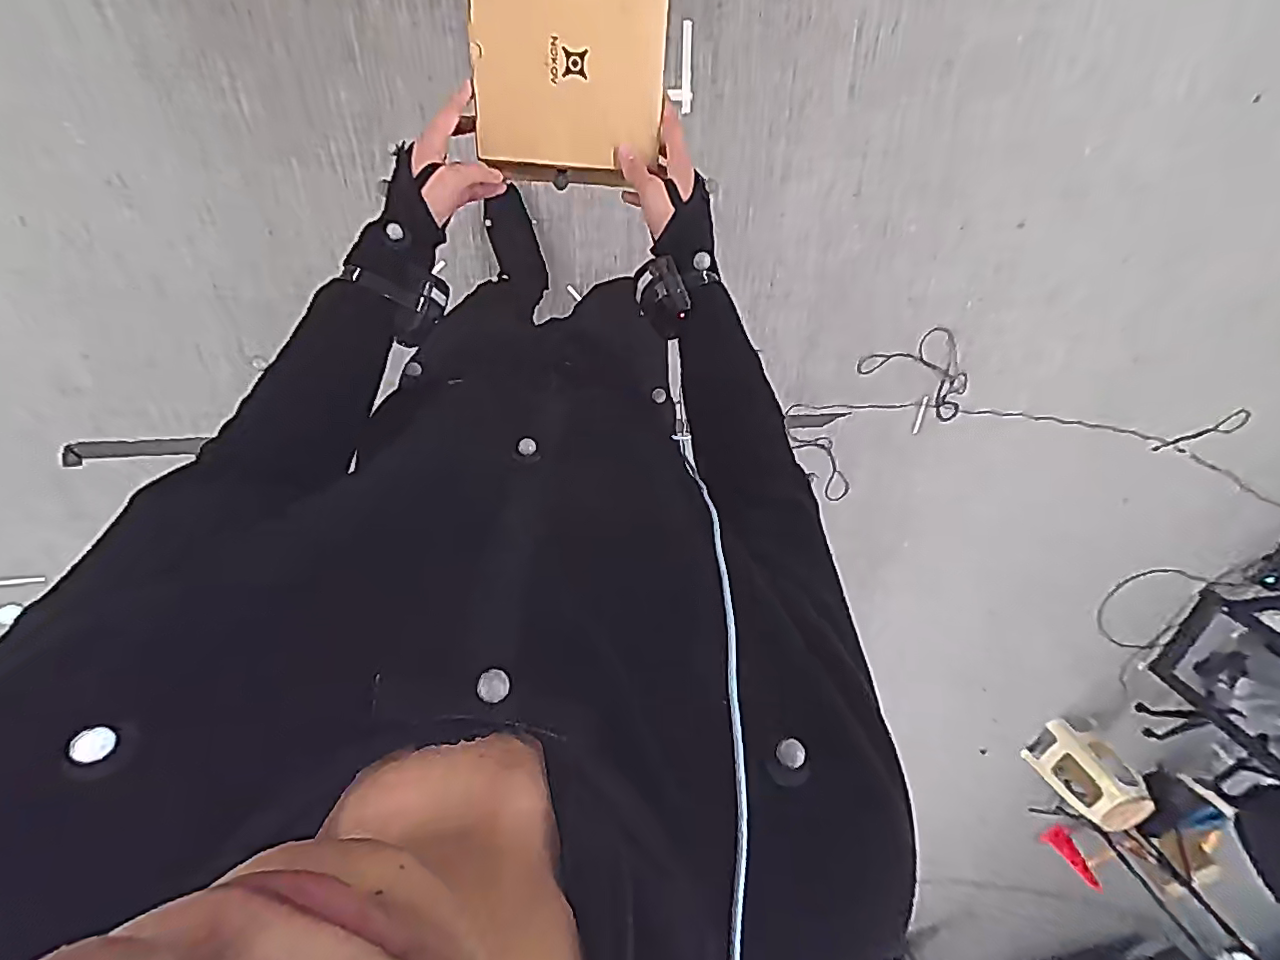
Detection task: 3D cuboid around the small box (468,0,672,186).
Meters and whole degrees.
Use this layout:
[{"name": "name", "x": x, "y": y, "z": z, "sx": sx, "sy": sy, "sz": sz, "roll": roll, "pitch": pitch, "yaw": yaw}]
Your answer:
[{"name": "small box", "x": -0.072, "y": -0.404, "z": 0.554, "sx": 0.179, "sy": 0.176, "sz": 0.168, "roll": 0, "pitch": 115, "yaw": -8}]
